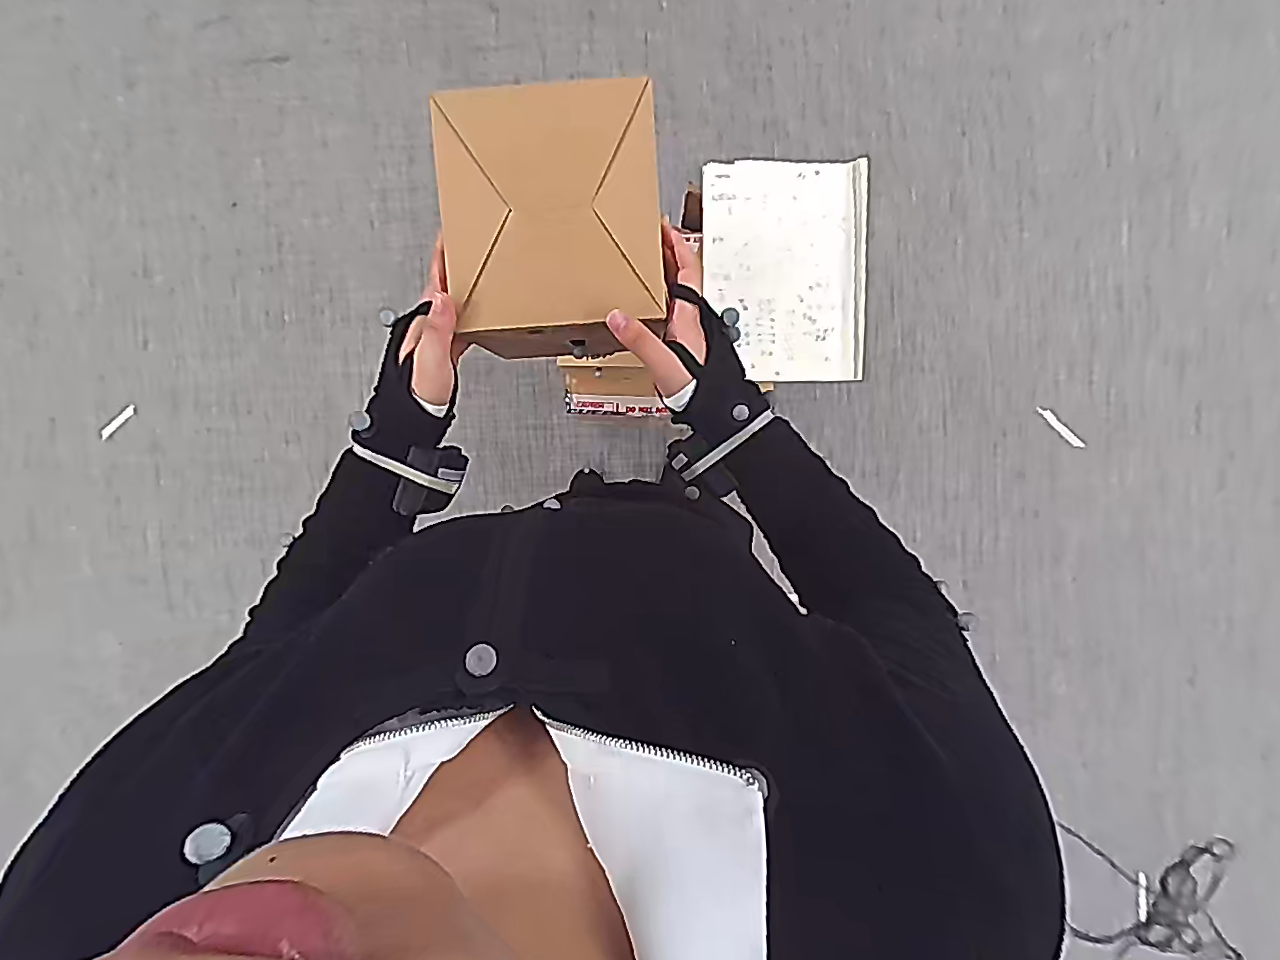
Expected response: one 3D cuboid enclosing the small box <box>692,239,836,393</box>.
[{"bbox_3d":[0.165,-0.222,0.769,0.168,0.176,0.179,0,94,-2],"label":"small box"}]
